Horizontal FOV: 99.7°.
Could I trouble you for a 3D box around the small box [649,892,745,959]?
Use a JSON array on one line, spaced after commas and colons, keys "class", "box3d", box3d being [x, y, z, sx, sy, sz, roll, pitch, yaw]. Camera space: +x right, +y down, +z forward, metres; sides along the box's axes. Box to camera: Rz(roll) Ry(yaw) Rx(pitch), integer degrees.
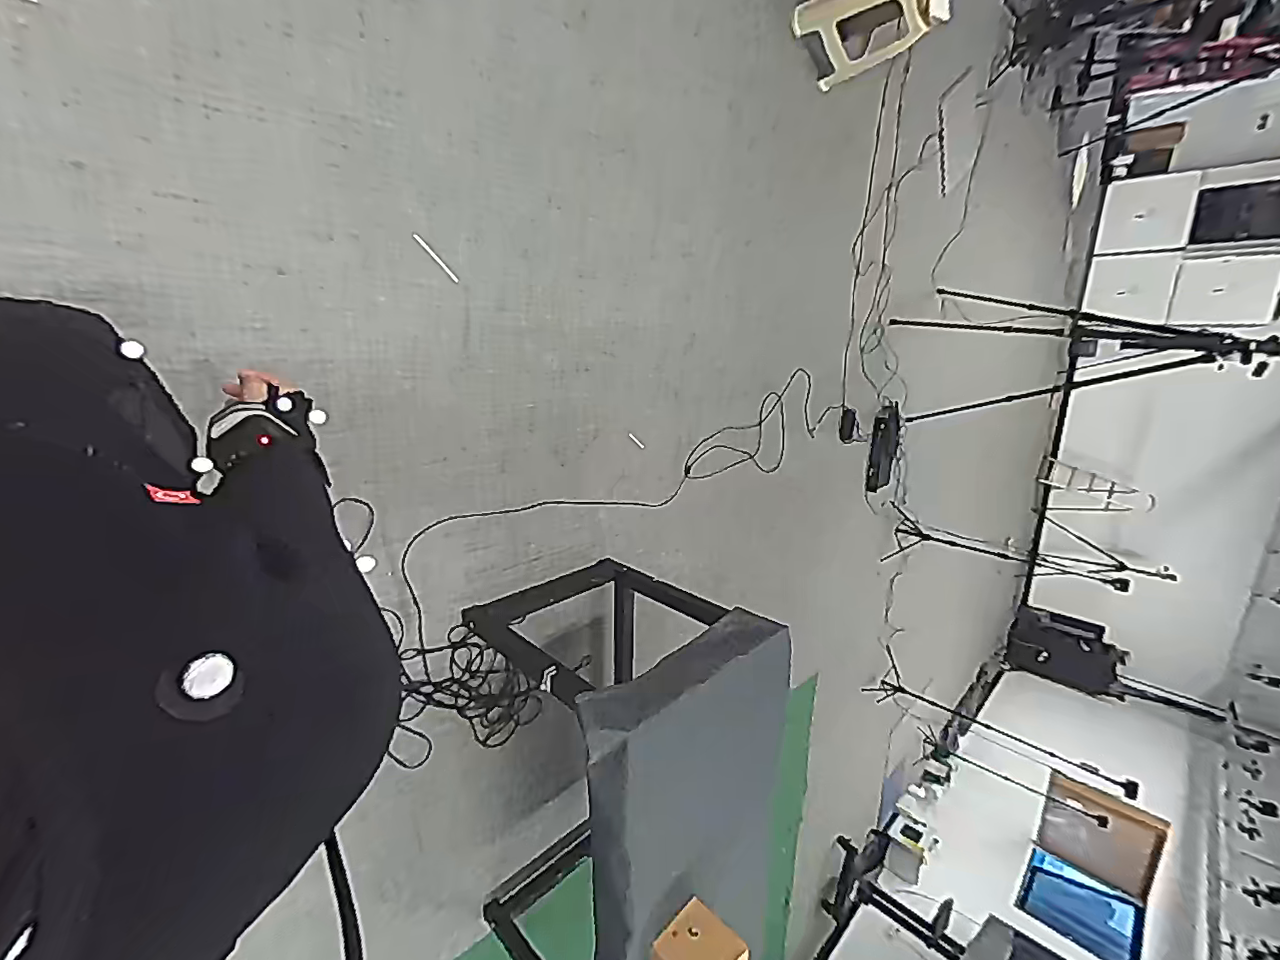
[{"class": "small box", "box3d": [0.134, 1.164, 1.307, 0.168, 0.176, 0.179, -17, 112, -42]}]
